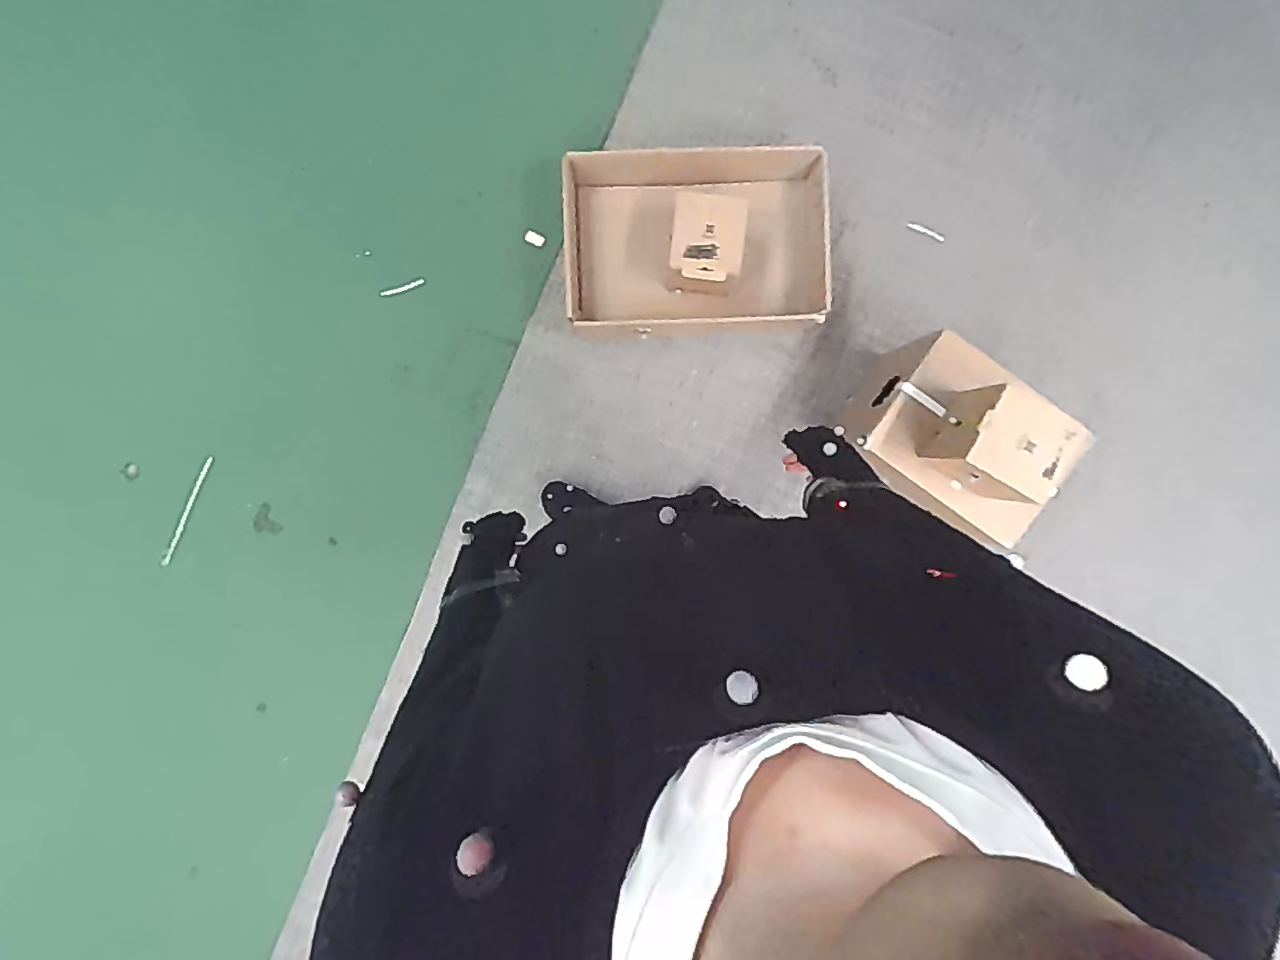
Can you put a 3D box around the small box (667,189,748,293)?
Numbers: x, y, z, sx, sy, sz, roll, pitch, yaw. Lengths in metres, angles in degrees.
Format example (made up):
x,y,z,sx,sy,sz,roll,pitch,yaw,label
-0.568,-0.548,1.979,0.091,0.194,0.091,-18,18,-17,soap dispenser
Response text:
x,y,z,sx,sy,sz,roll,pitch,yaw,label
0.156,-0.570,1.314,0.168,0.176,0.179,7,91,0,small box

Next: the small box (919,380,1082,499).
x,y,z,sx,sy,sz,roll,pitch,yaw,label
0.703,-0.076,1.079,0.179,0.176,0.168,30,93,-1,small box
